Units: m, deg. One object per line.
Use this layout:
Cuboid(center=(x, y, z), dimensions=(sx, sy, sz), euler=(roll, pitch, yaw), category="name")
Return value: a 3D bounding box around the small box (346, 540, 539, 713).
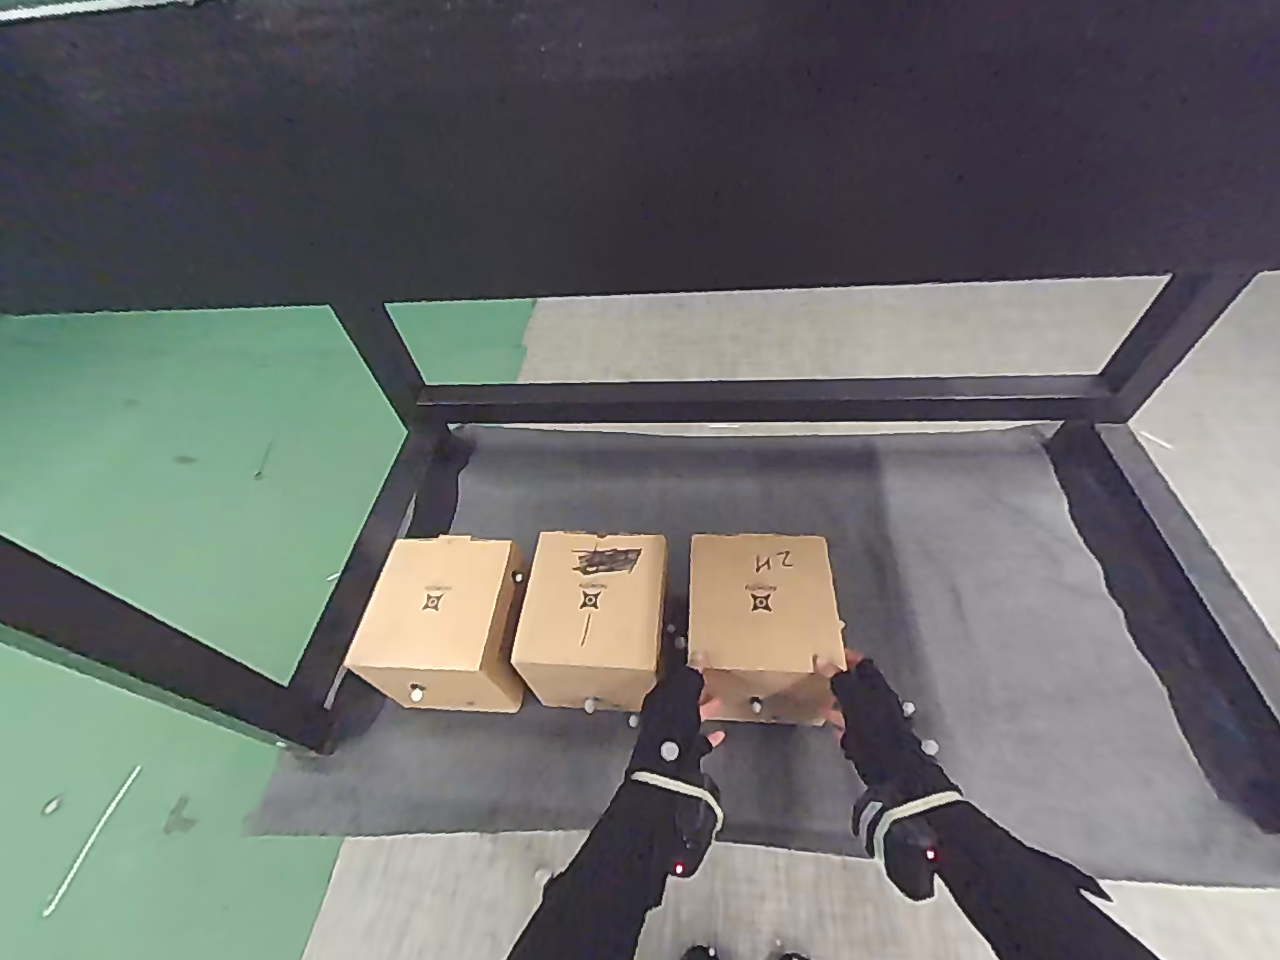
Cuboid(center=(-0.244, 0.199, 0.723), dimensions=(0.168, 0.176, 0.179), euler=(0, 50, 7), category="small box")
